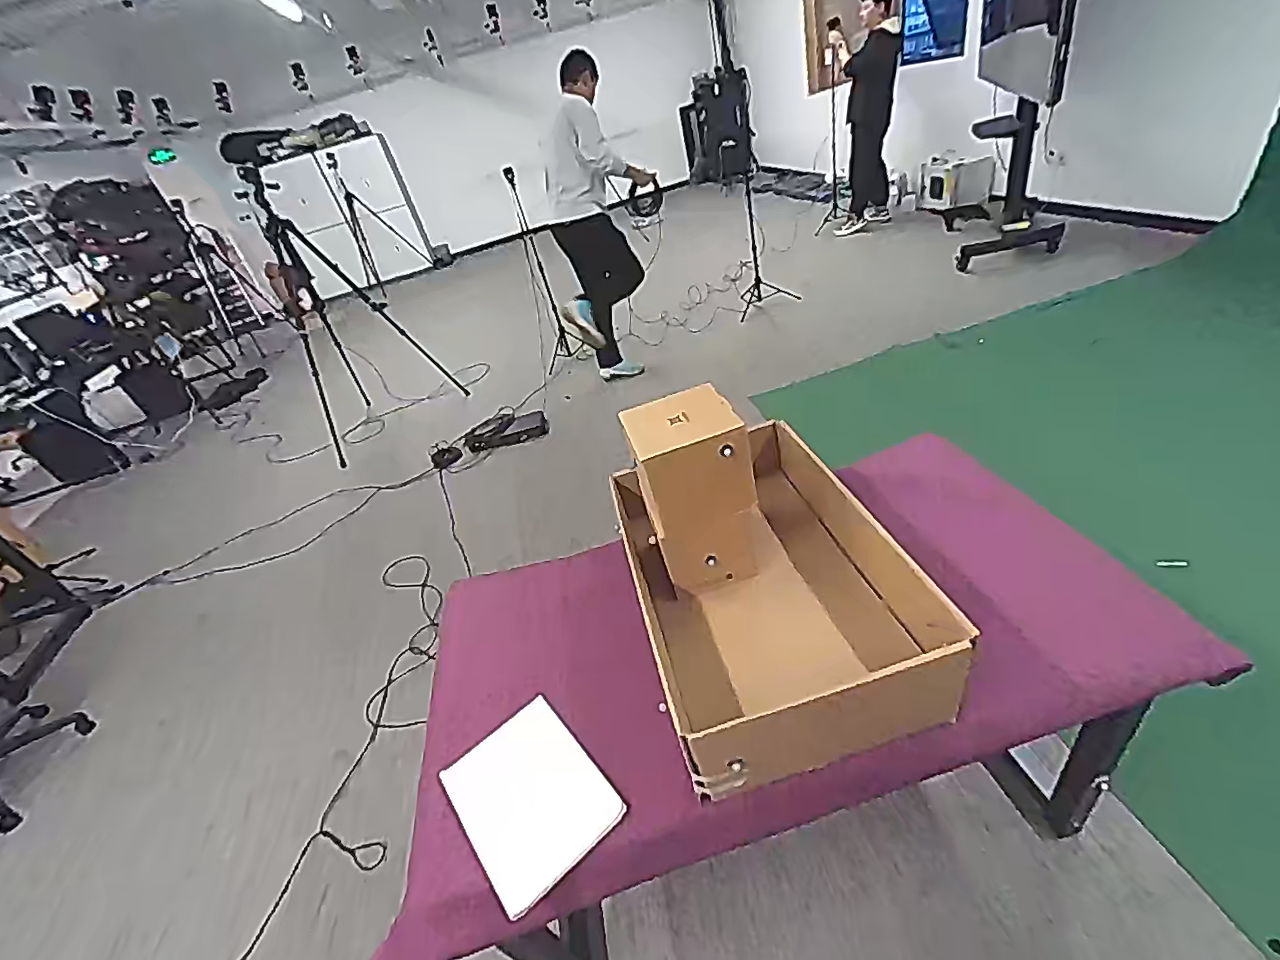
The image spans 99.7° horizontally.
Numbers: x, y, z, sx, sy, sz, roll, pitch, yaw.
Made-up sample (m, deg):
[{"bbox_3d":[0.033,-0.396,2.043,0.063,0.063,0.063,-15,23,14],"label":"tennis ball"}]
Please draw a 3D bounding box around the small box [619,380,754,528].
[{"bbox_3d":[0.082,-0.043,0.932,0.179,0.176,0.168,-19,37,-3],"label":"small box"}]

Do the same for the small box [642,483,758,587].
[{"bbox_3d":[0.114,0.082,1.030,0.168,0.176,0.179,-18,37,-1],"label":"small box"}]
